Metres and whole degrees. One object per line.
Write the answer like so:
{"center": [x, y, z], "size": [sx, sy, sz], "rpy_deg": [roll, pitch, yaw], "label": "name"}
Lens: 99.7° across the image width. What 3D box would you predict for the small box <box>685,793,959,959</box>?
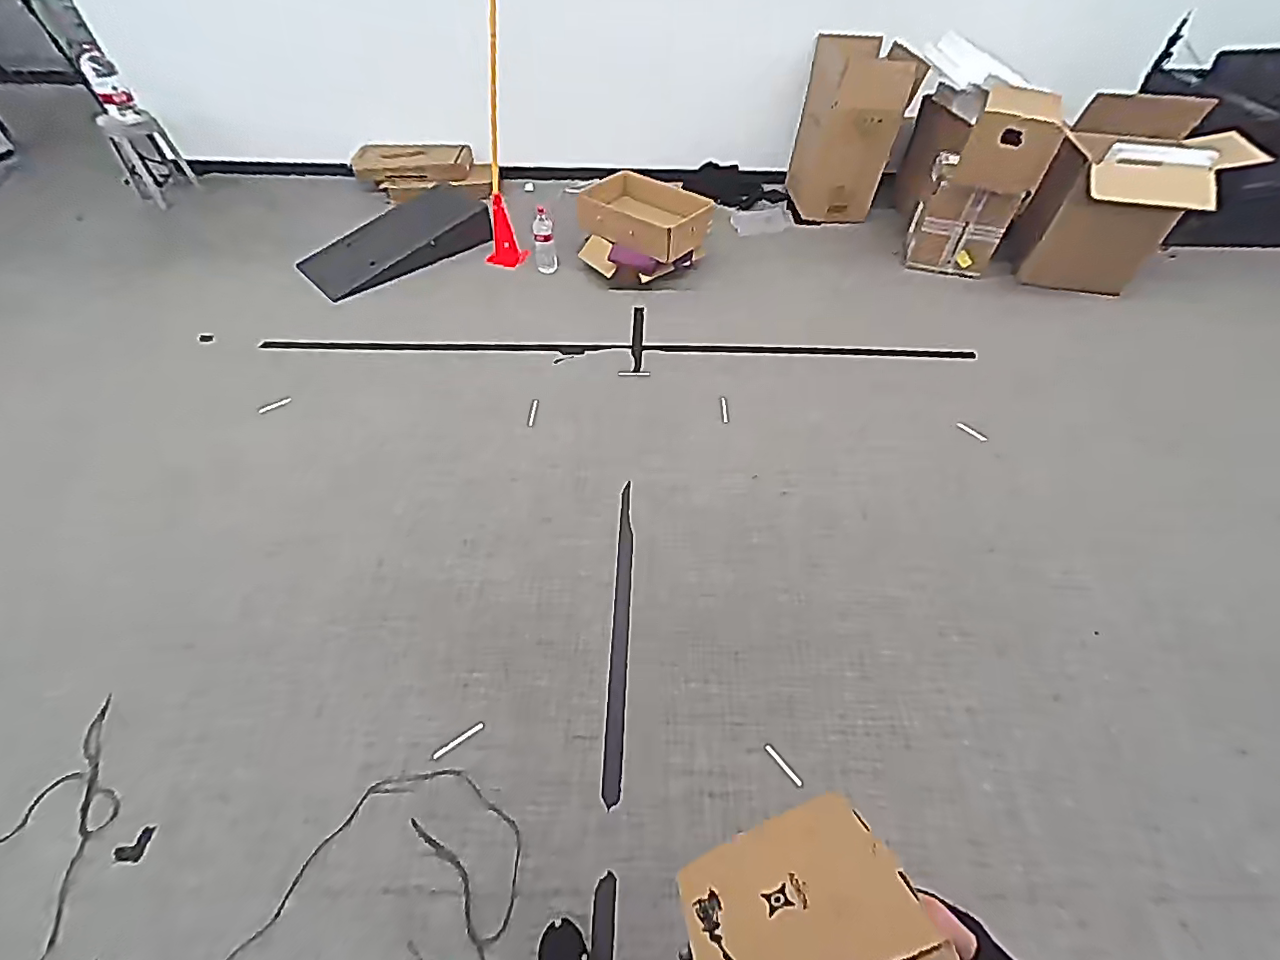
{"center": [0.158, 0.418, 0.453], "size": [0.179, 0.168, 0.176], "rpy_deg": [-22, 93, -4], "label": "small box"}
